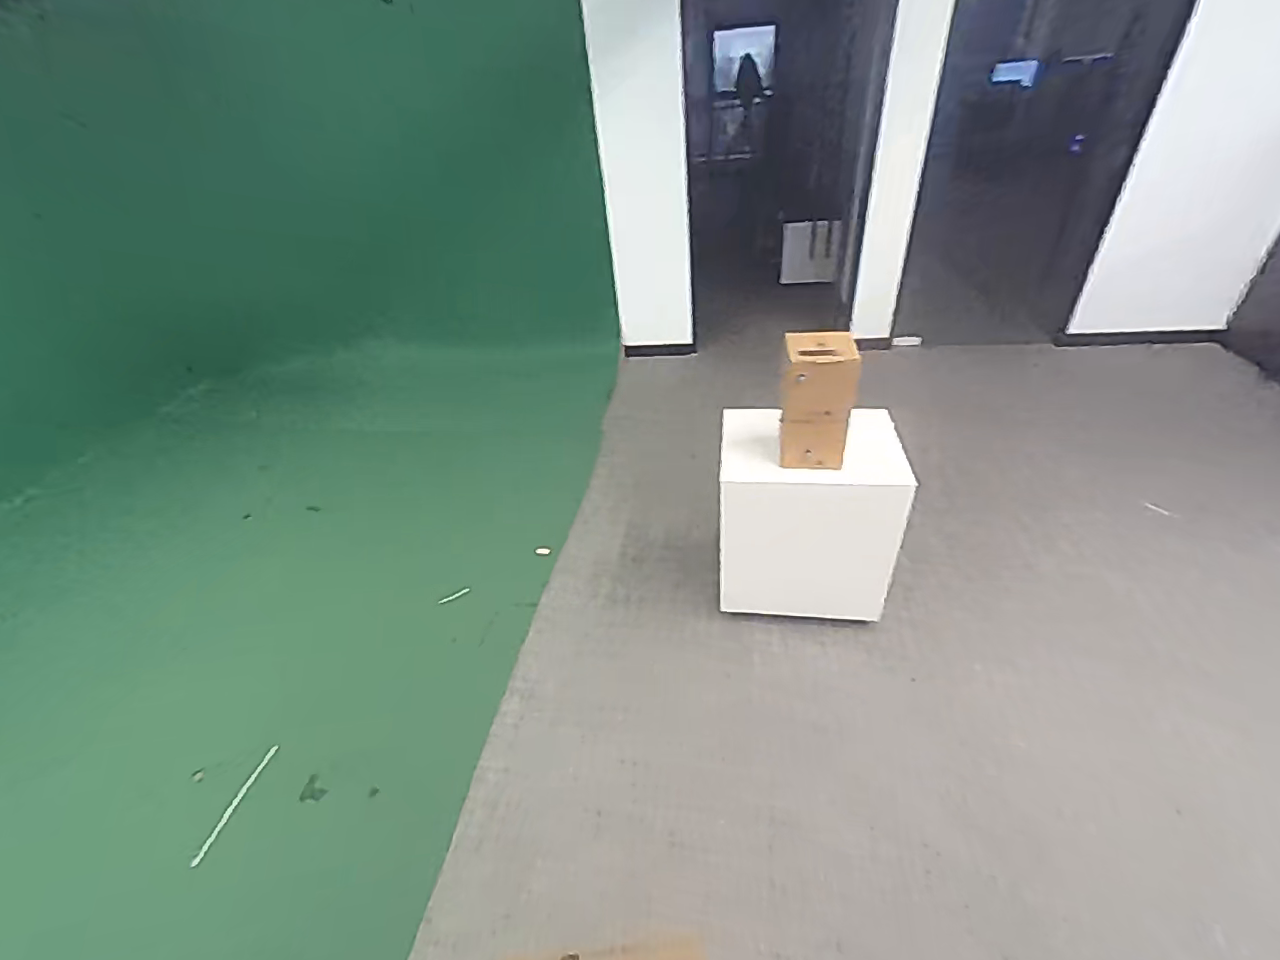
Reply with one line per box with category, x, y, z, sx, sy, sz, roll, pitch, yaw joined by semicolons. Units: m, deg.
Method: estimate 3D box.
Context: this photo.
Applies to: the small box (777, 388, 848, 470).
small box;0.474;-0.145;1.513;0.168;0.176;0.179;1;36;10
